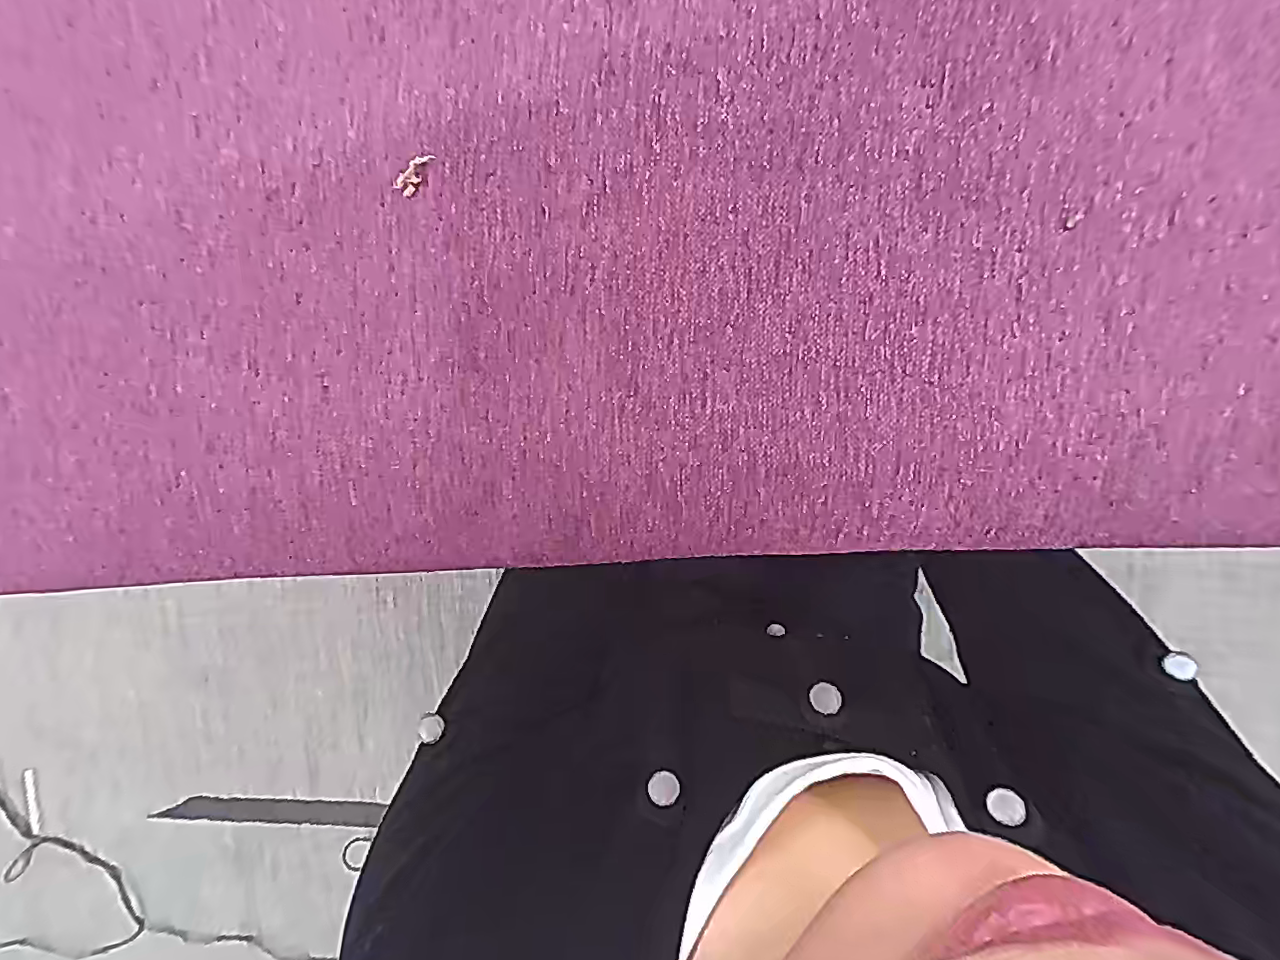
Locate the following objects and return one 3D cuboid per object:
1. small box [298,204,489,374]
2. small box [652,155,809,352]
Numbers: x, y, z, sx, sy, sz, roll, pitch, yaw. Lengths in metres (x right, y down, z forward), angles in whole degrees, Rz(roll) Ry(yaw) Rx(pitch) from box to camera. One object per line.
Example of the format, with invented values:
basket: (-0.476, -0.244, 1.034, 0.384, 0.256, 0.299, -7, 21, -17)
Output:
small box: (-0.315, -0.241, 0.724, 0.168, 0.176, 0.179, -3, 97, 7)
small box: (0.109, -0.264, 0.672, 0.168, 0.176, 0.179, -5, 97, 9)
